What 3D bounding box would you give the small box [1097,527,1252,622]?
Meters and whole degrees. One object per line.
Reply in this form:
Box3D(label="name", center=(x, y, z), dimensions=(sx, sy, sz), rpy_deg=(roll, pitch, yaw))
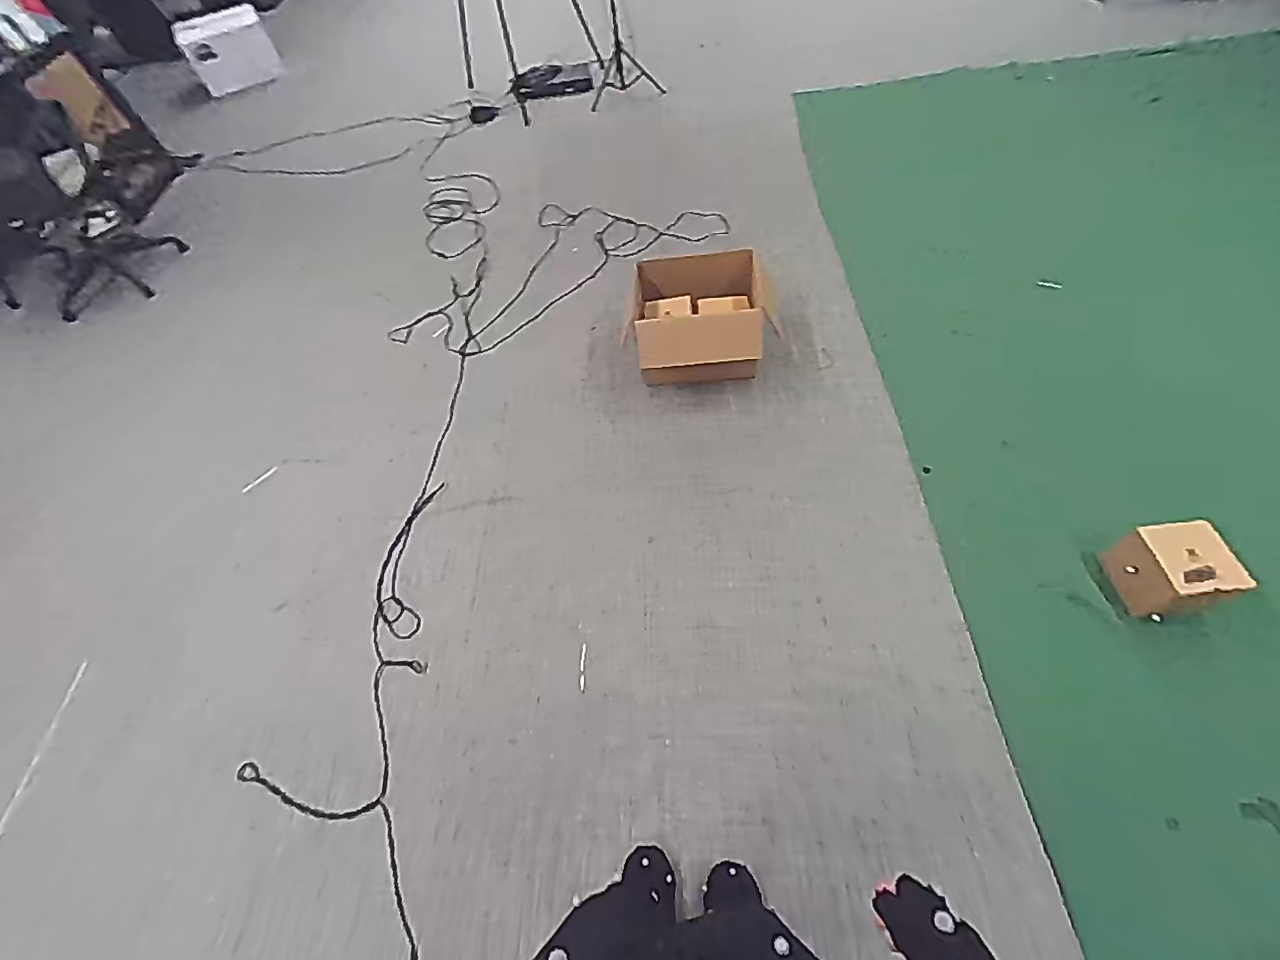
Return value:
Box3D(label="small box", center=(1.277, 0.235, 1.310), dimensions=(0.168, 0.176, 0.179), rpy_deg=(-6, 55, 4))
